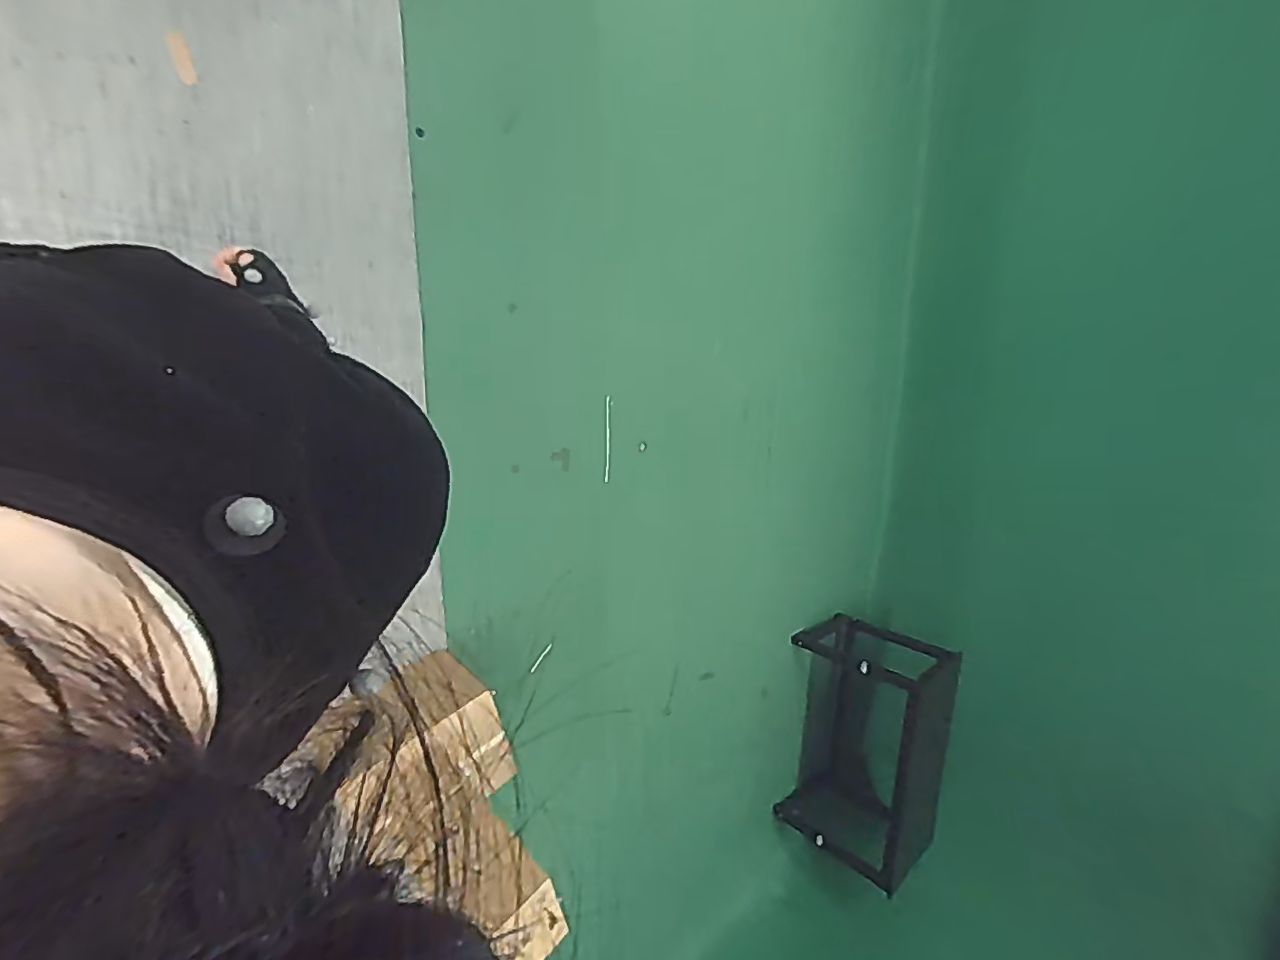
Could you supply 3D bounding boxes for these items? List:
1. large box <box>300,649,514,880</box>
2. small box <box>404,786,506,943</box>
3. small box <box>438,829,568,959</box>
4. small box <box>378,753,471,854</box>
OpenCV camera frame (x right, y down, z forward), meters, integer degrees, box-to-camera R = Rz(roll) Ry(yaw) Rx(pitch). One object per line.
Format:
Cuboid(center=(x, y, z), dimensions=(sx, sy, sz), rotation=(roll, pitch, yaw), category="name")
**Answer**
Cuboid(center=(-0.629, 0.745, 1.487), dimensions=(0.408, 0.320, 0.320), rotation=(-28, 118, -38), category="large box")
Cuboid(center=(-0.386, 0.813, 1.164), dimensions=(0.179, 0.176, 0.168), rotation=(-28, 116, -37), category="small box")
Cuboid(center=(-0.272, 0.840, 1.048), dimensions=(0.179, 0.176, 0.168), rotation=(-26, 116, -36), category="small box")
Cuboid(center=(-0.495, 0.785, 1.282), dimensions=(0.168, 0.176, 0.179), rotation=(-26, 116, -37), category="small box")
